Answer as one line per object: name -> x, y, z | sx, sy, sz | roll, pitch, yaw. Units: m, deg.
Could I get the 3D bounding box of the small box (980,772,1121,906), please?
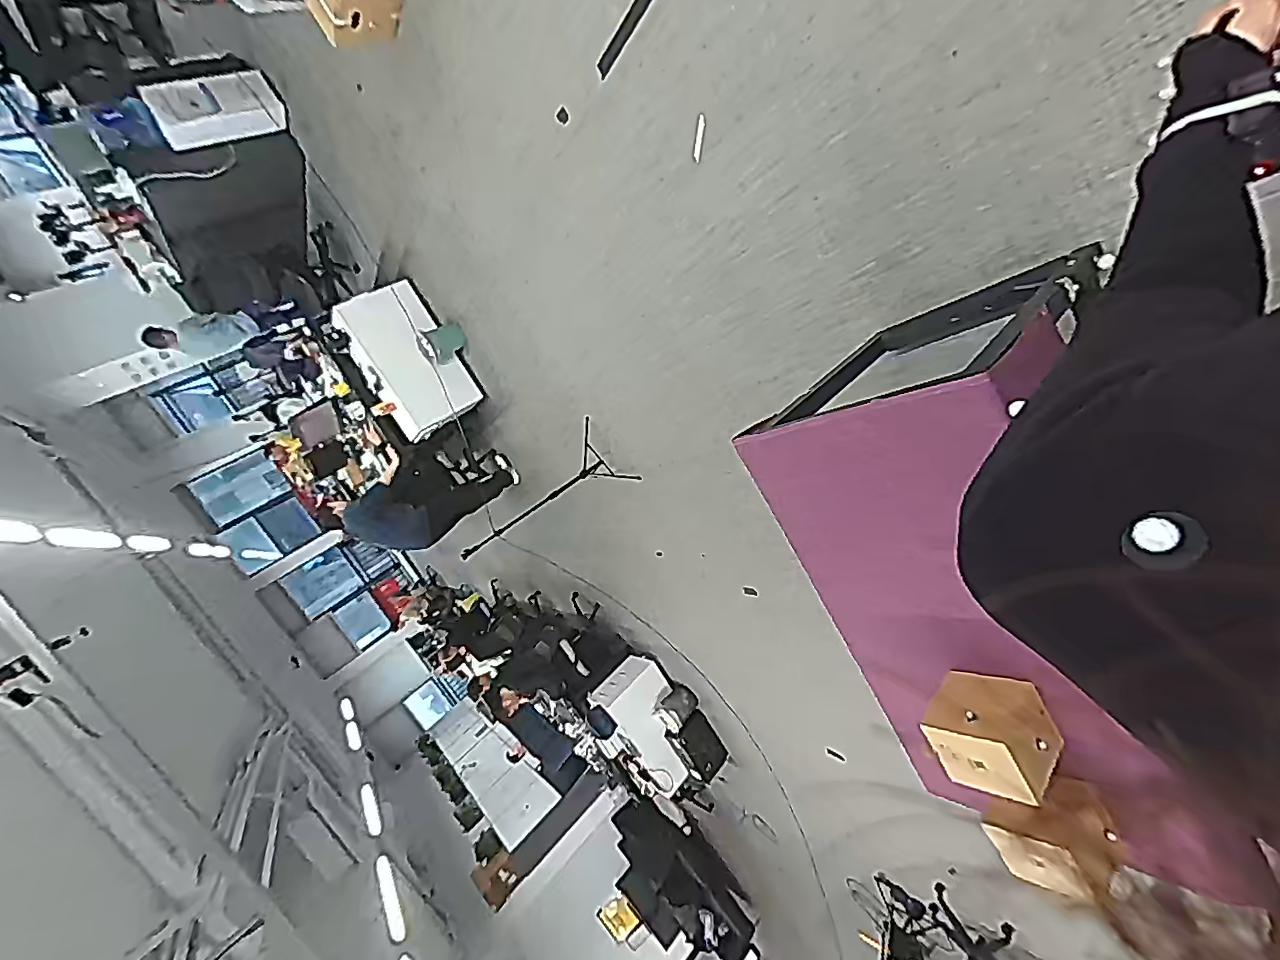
small box -> 0.897, 0.759, 1.182 | 0.168, 0.176, 0.179 | 57, 150, -8

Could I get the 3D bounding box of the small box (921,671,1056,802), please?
small box -> 0.747, 0.531, 1.150 | 0.168, 0.176, 0.179 | 58, 150, -9
